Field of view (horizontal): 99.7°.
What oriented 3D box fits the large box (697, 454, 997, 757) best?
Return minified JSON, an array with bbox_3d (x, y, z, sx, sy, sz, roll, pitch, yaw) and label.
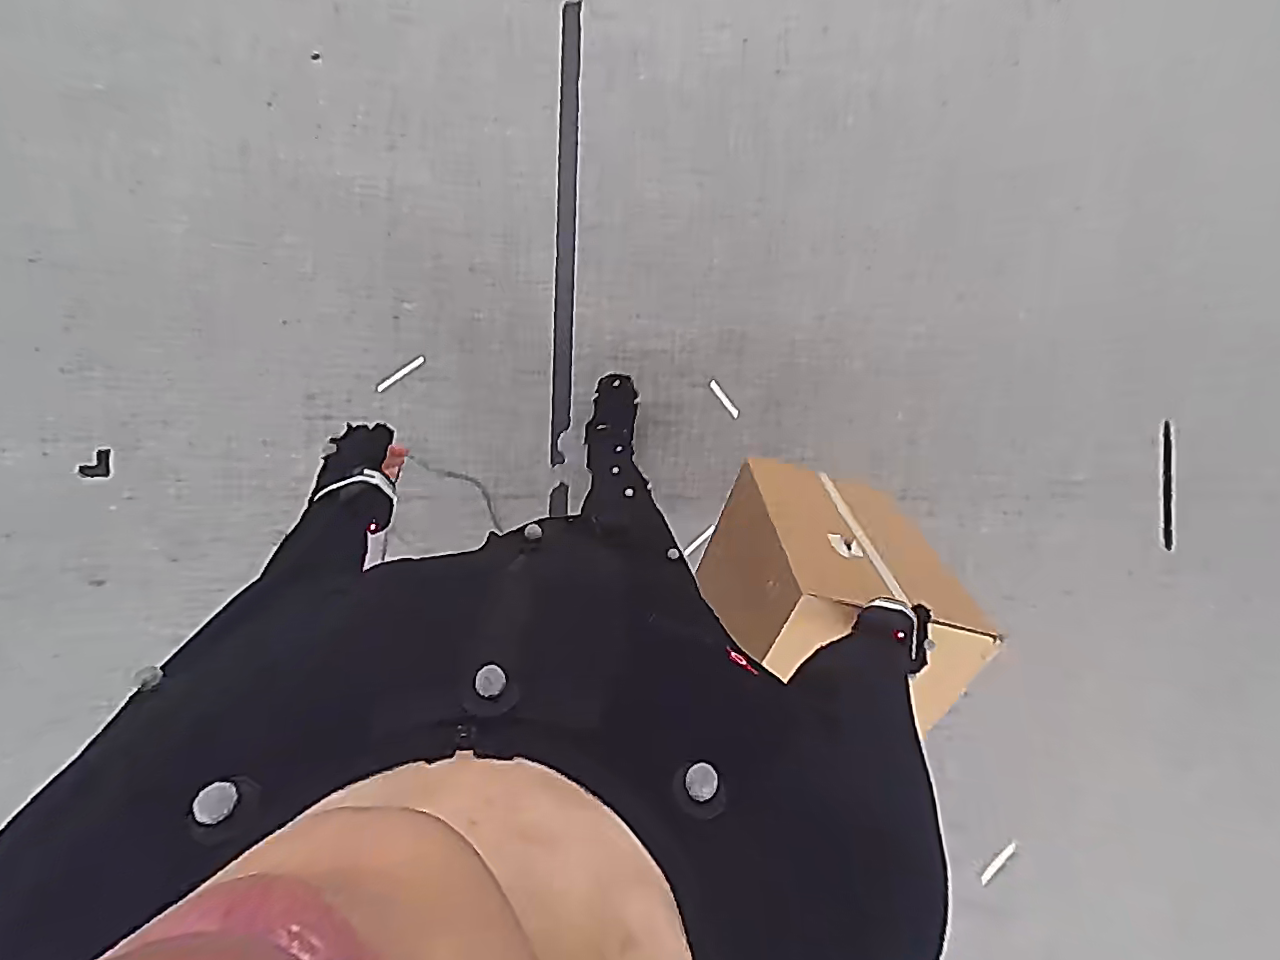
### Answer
[{"bbox_3d":[0.318,0.209,0.986,0.320,0.408,0.320,14,119,-9],"label":"large box"}]
